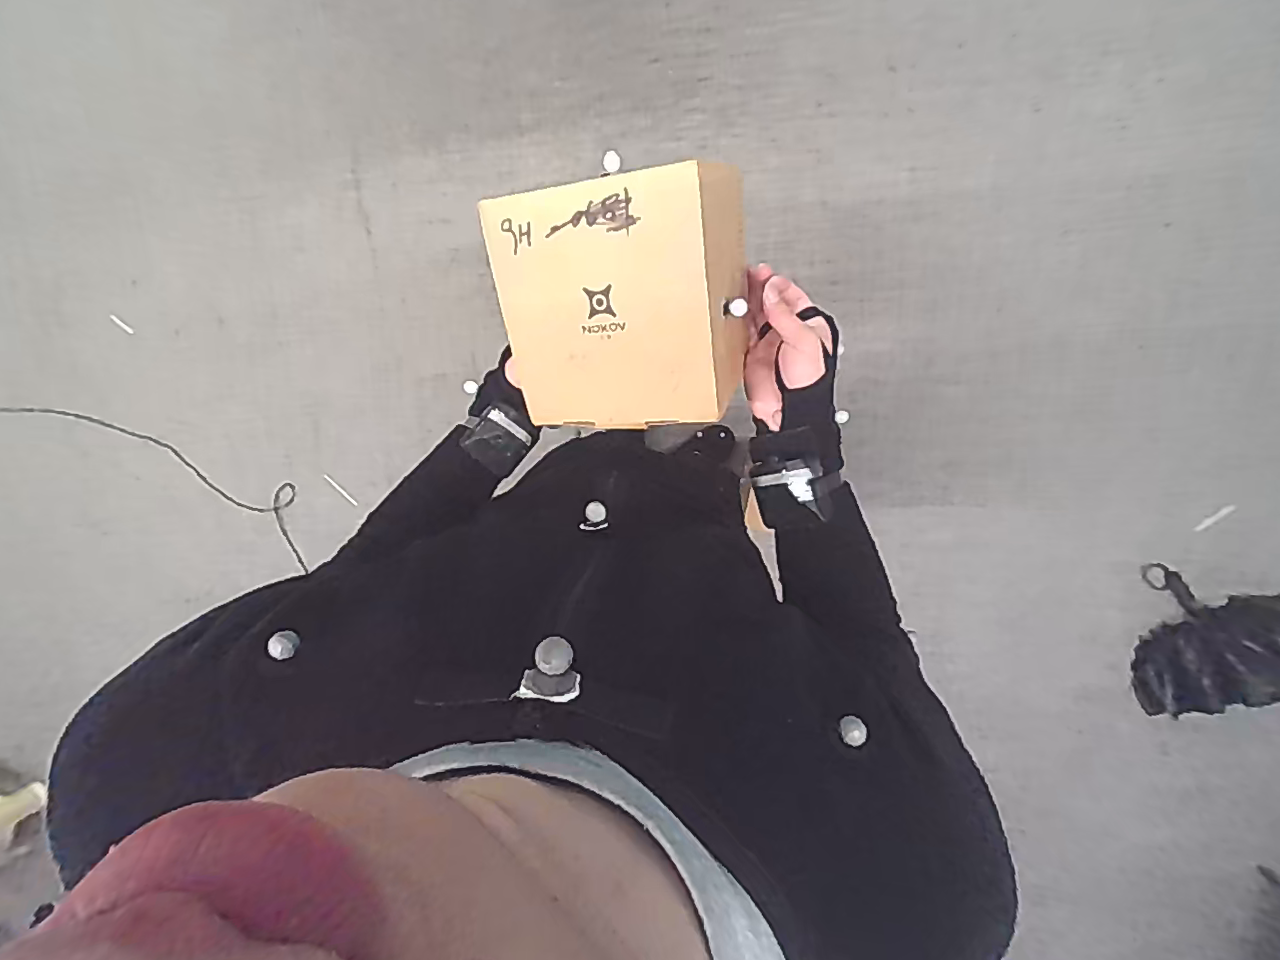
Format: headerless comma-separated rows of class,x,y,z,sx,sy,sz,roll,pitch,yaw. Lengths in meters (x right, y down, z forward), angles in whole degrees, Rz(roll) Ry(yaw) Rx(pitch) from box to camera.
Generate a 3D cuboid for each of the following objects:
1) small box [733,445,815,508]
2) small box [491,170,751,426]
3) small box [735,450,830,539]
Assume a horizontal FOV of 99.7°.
small box,0.352,0.001,1.453,0.179,0.176,0.168,11,99,7
small box,0.002,-0.161,0.477,0.168,0.176,0.179,1,119,19
small box,0.331,0.027,1.292,0.179,0.176,0.168,12,99,6
